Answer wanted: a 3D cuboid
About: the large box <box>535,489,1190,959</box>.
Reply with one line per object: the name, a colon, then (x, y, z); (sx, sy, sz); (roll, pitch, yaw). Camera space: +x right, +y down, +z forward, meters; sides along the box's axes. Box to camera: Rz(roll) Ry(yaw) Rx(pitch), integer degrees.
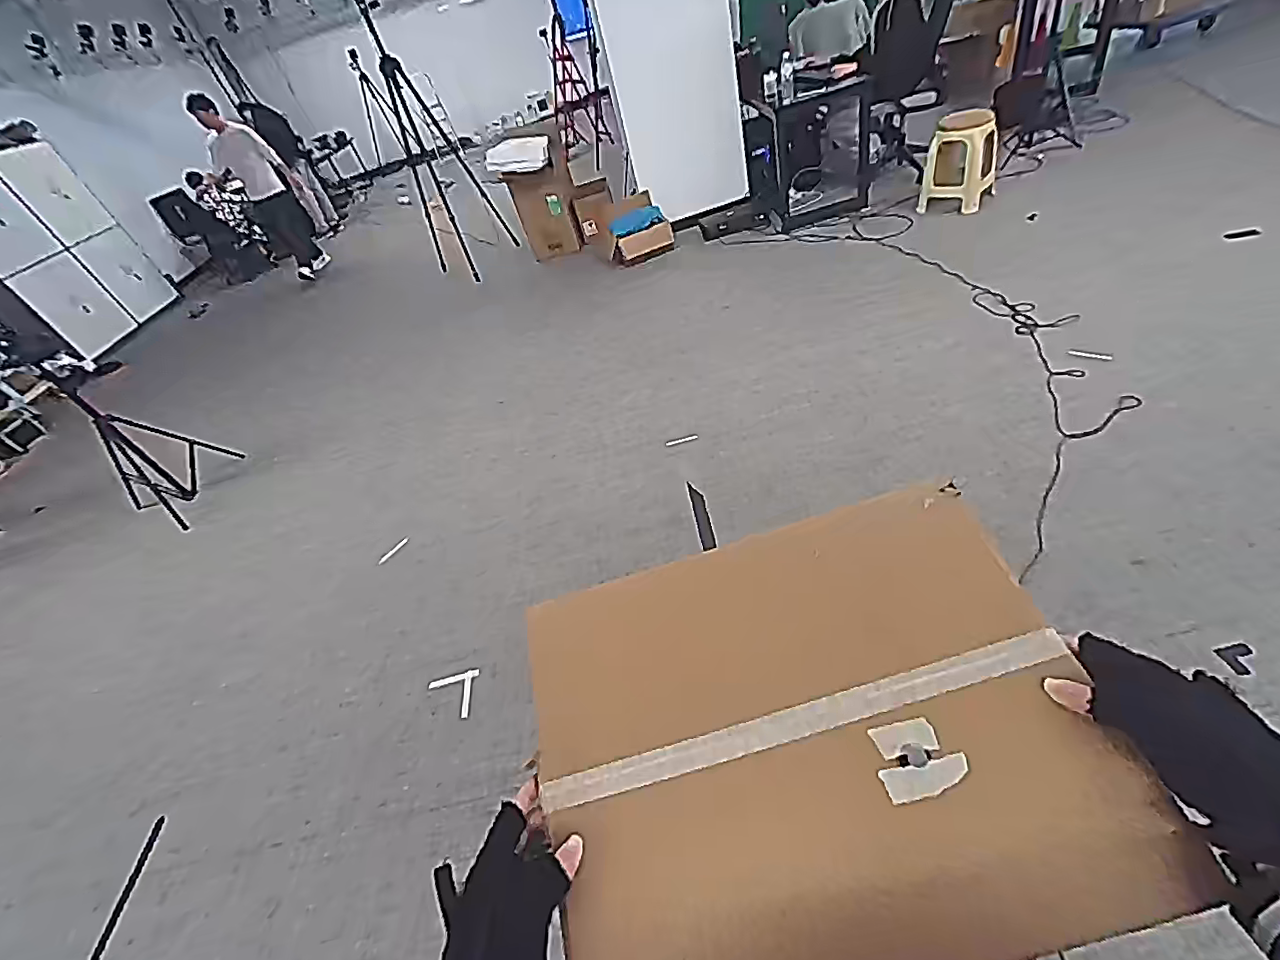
large box: (0.152, 0.270, 0.548); (0.408, 0.320, 0.320); (-18, 56, 2)
